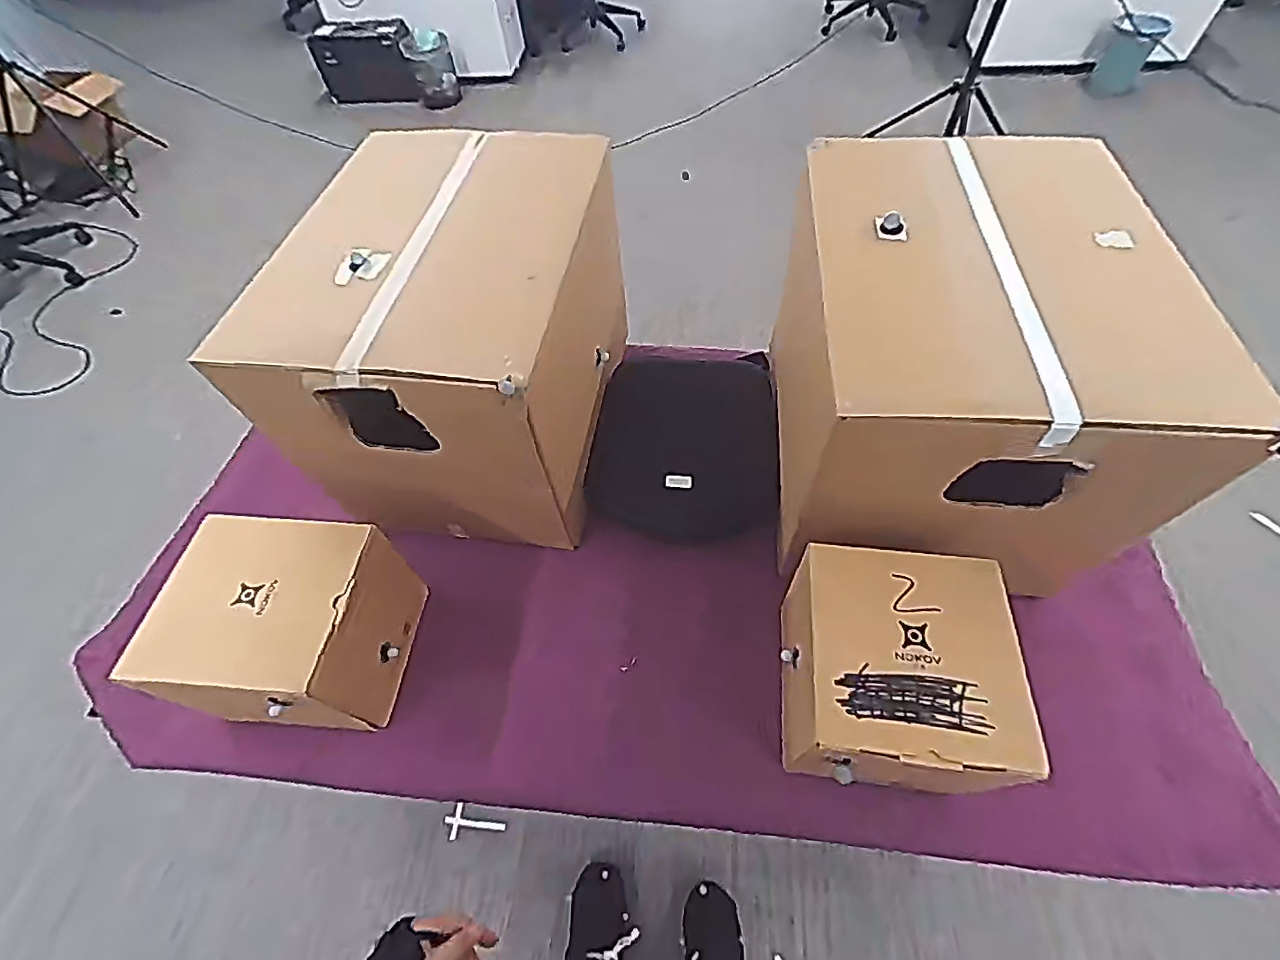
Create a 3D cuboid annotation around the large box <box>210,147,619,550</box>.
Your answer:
[{"bbox_3d":[-0.212,-0.164,0.701,0.320,0.320,0.408,4,59,7],"label":"large box"}]

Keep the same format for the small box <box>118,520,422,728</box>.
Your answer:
[{"bbox_3d":[-0.363,0.158,0.575,0.179,0.176,0.168,3,56,2],"label":"small box"}]
